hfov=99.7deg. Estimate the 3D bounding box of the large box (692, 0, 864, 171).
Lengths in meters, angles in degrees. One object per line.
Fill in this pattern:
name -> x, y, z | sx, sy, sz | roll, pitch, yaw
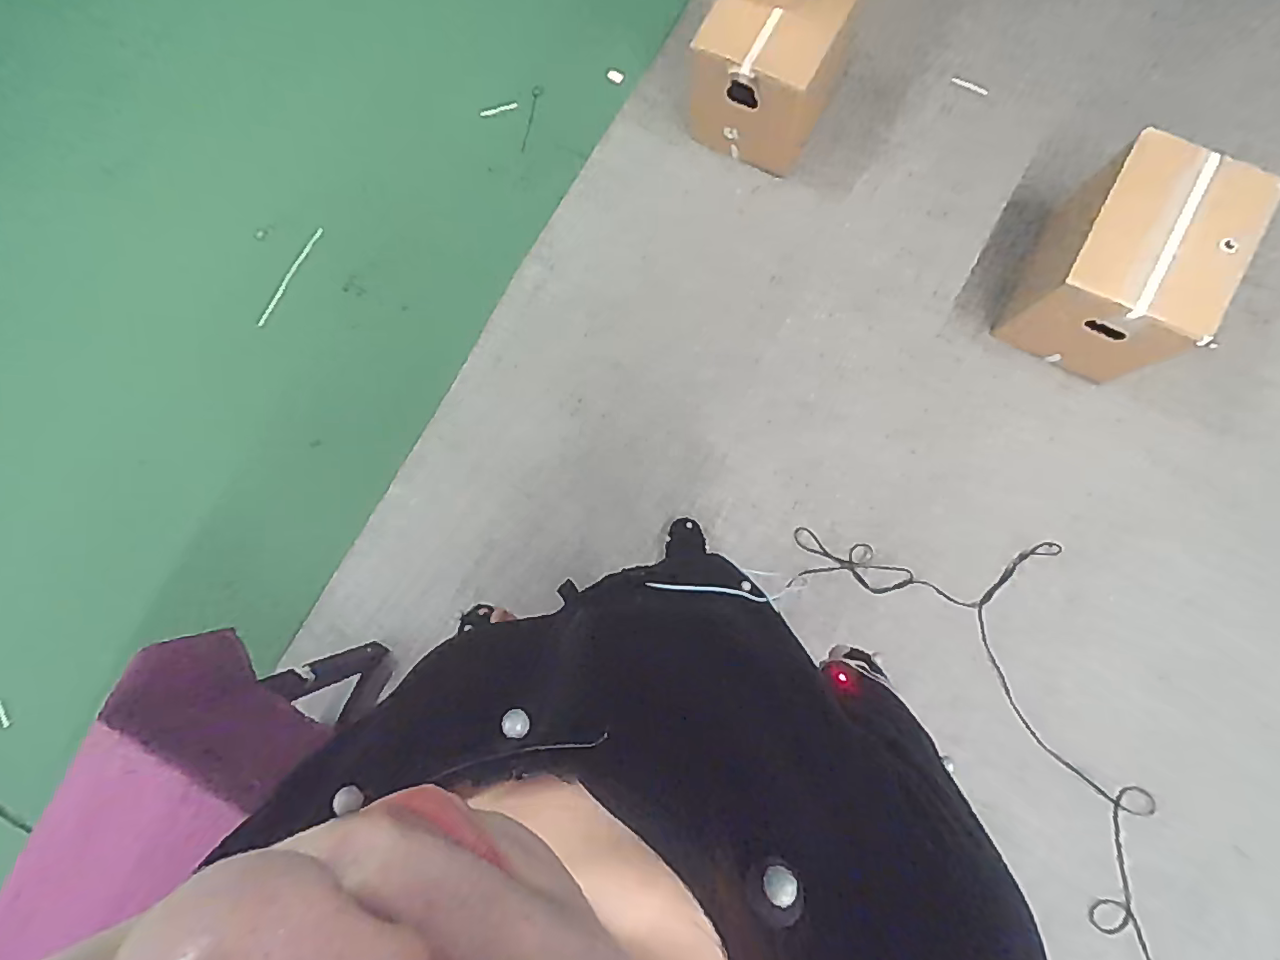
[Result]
large box -> 0.366, -1.149, 1.458 | 0.320, 0.320, 0.408 | 29, 87, 9
